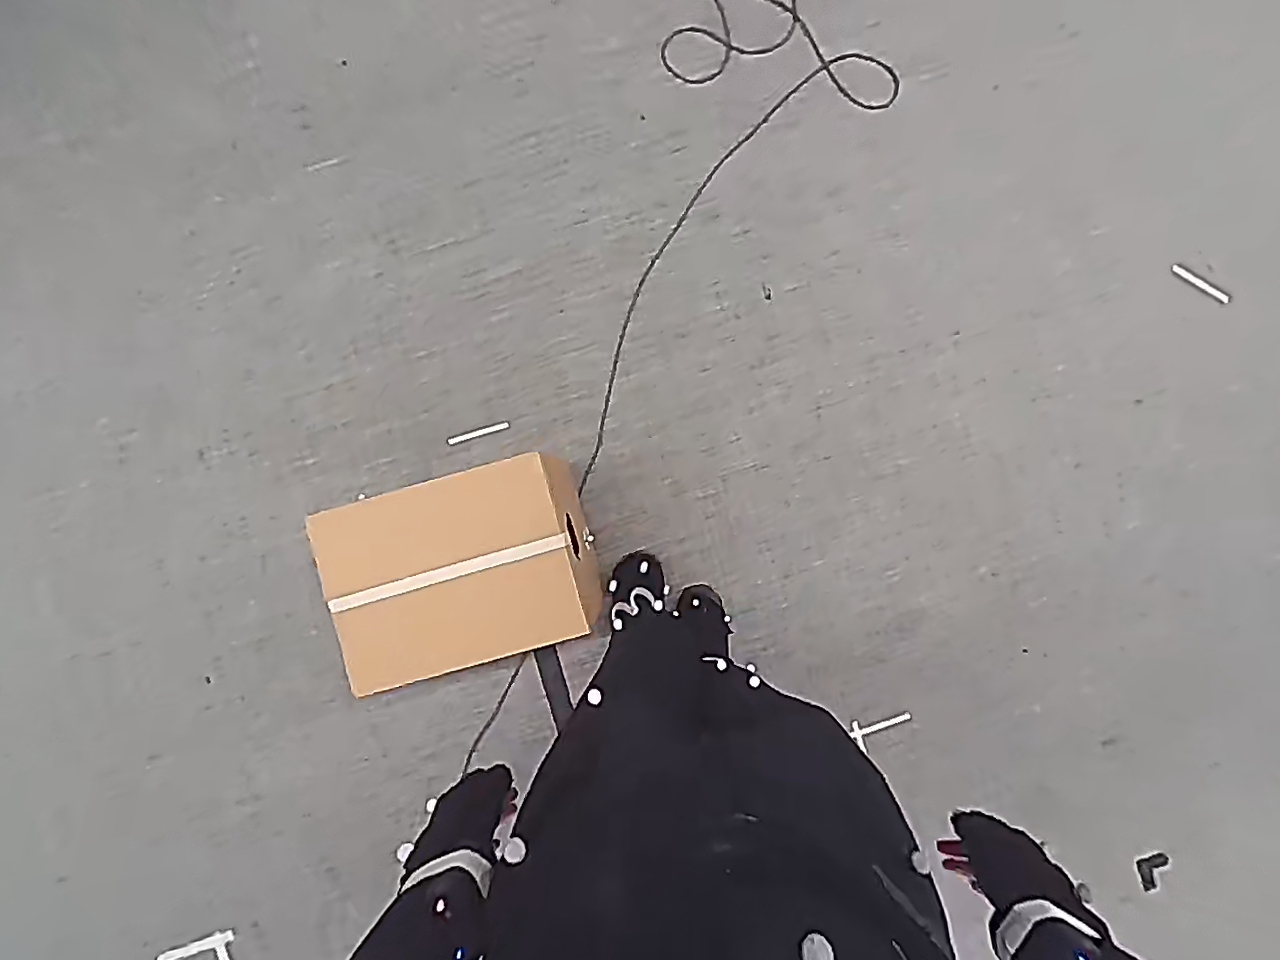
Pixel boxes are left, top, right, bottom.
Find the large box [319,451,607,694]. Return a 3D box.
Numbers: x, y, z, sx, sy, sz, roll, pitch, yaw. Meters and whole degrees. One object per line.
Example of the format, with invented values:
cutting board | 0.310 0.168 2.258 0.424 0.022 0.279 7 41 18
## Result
large box | -0.304 0.157 1.040 0.408 0.320 0.320 -16 90 1
